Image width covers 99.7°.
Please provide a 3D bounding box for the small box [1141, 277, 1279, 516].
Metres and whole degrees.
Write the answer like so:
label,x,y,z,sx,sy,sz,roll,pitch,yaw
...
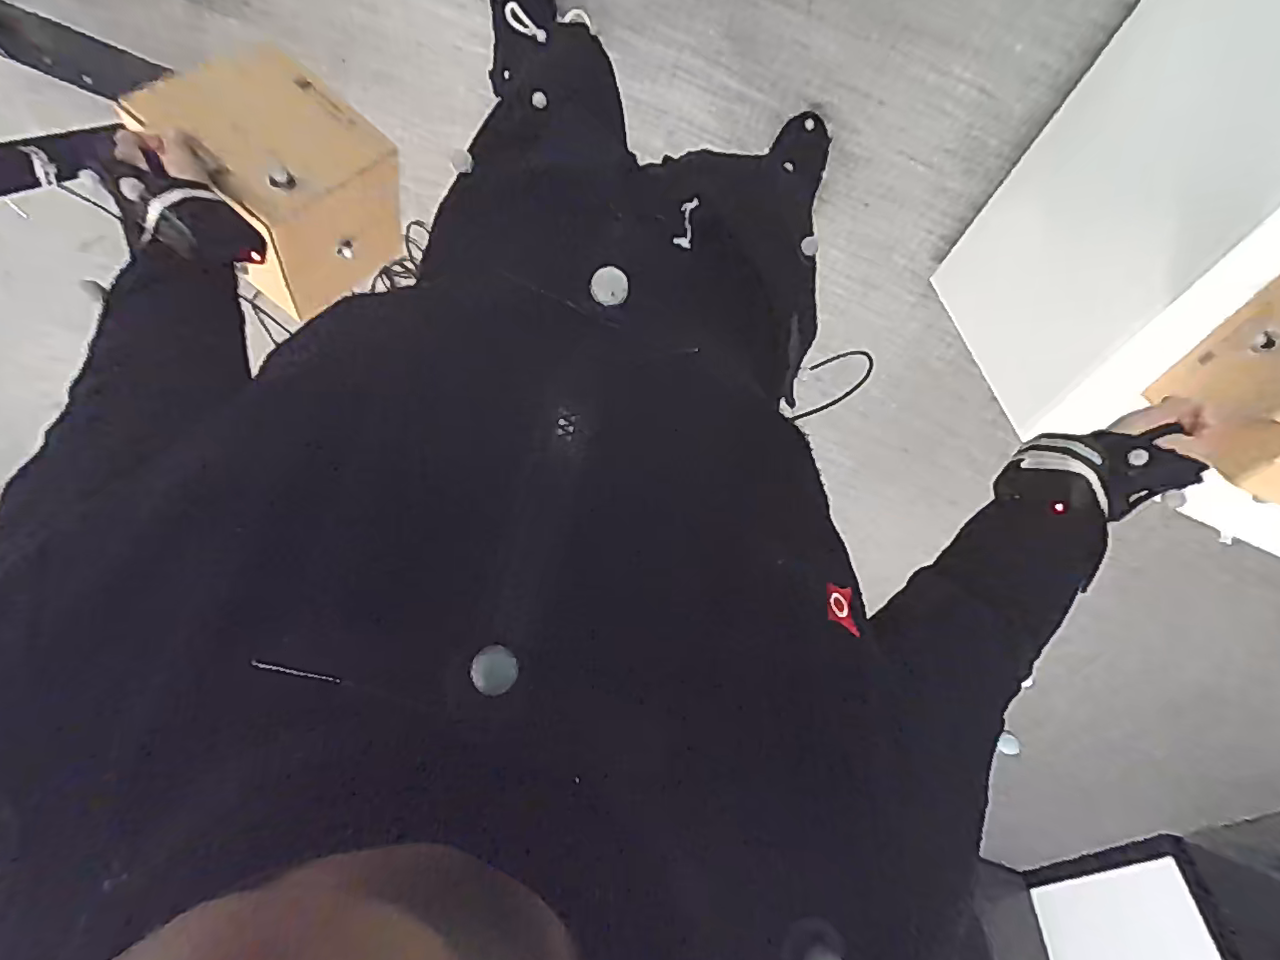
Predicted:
label,x,y,z,sx,sy,sz,roll,pitch,yaw
small box,0.651,-0.068,0.508,0.179,0.176,0.168,21,132,-4
